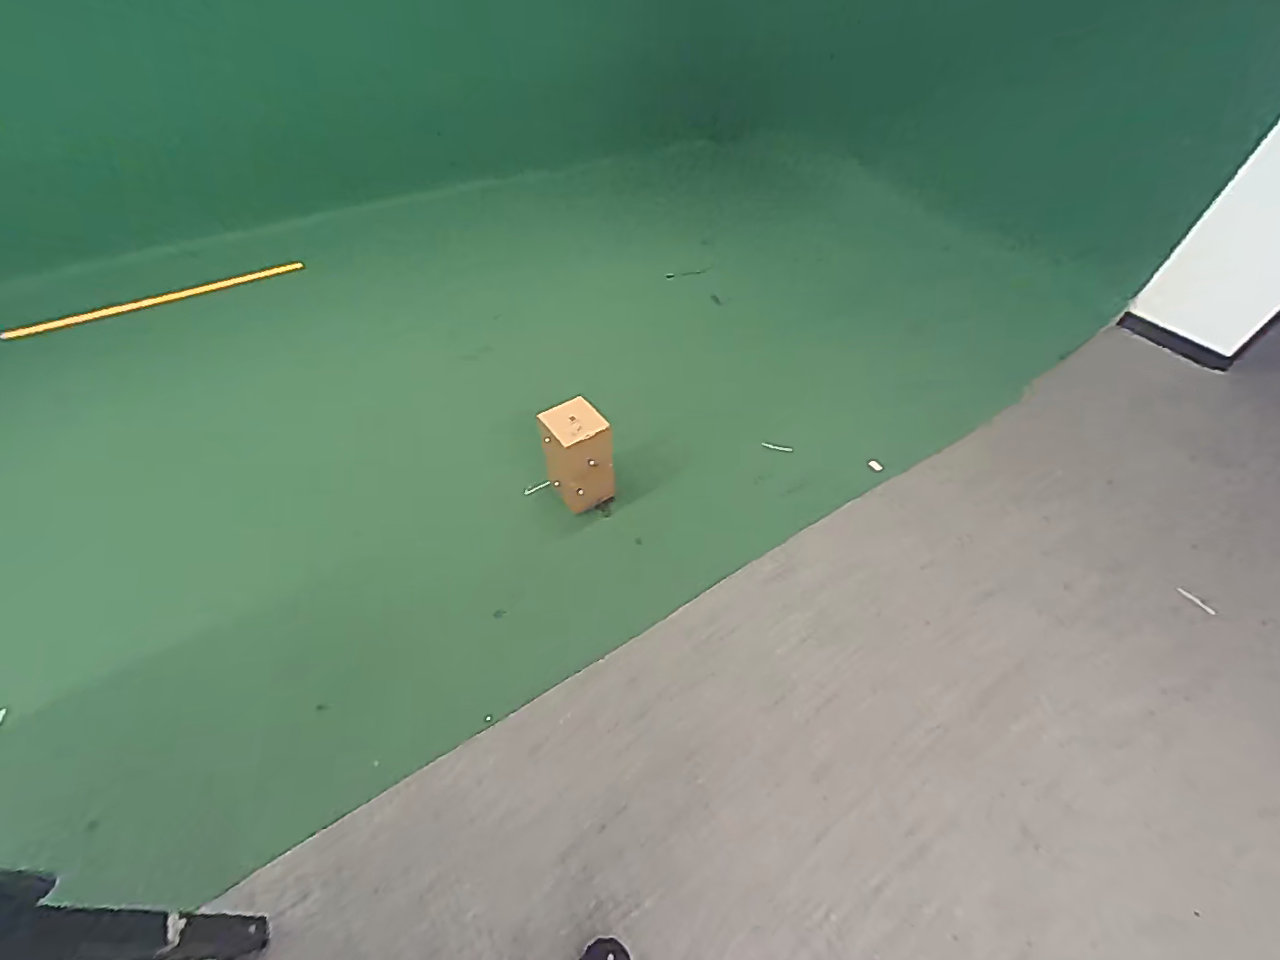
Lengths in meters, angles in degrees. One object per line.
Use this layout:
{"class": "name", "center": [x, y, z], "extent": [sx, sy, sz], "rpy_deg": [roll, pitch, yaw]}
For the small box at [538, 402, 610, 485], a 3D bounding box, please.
{"class": "small box", "center": [-0.211, -0.117, 1.745], "extent": [0.168, 0.176, 0.179], "rpy_deg": [-29, 56, -24]}
